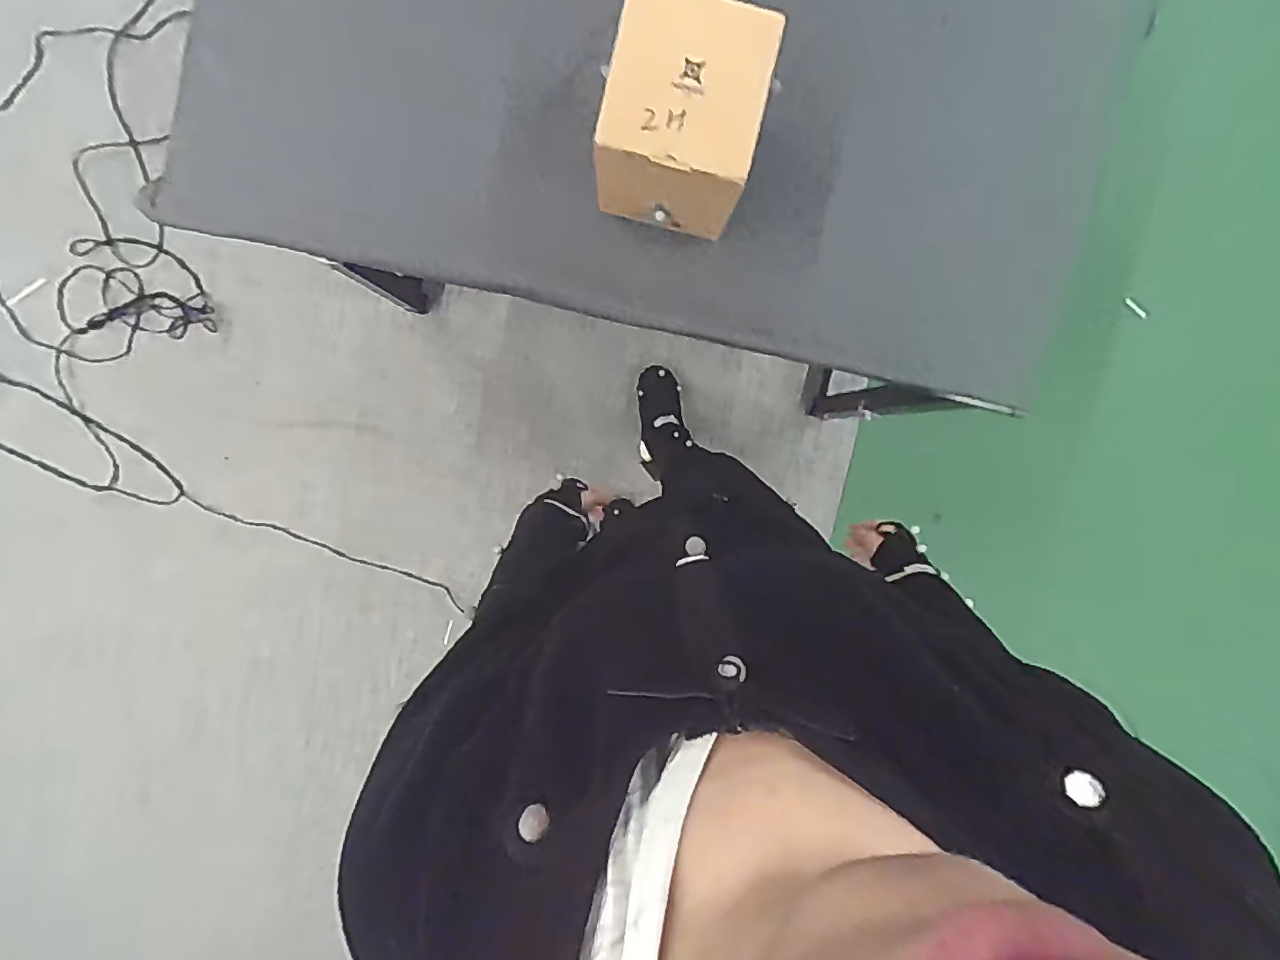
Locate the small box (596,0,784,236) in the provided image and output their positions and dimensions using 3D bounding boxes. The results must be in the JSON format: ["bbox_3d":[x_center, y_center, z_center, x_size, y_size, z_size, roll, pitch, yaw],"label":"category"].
[{"bbox_3d":[0.047,-0.420,0.633,0.168,0.176,0.179,13,94,-3],"label":"small box"}]
